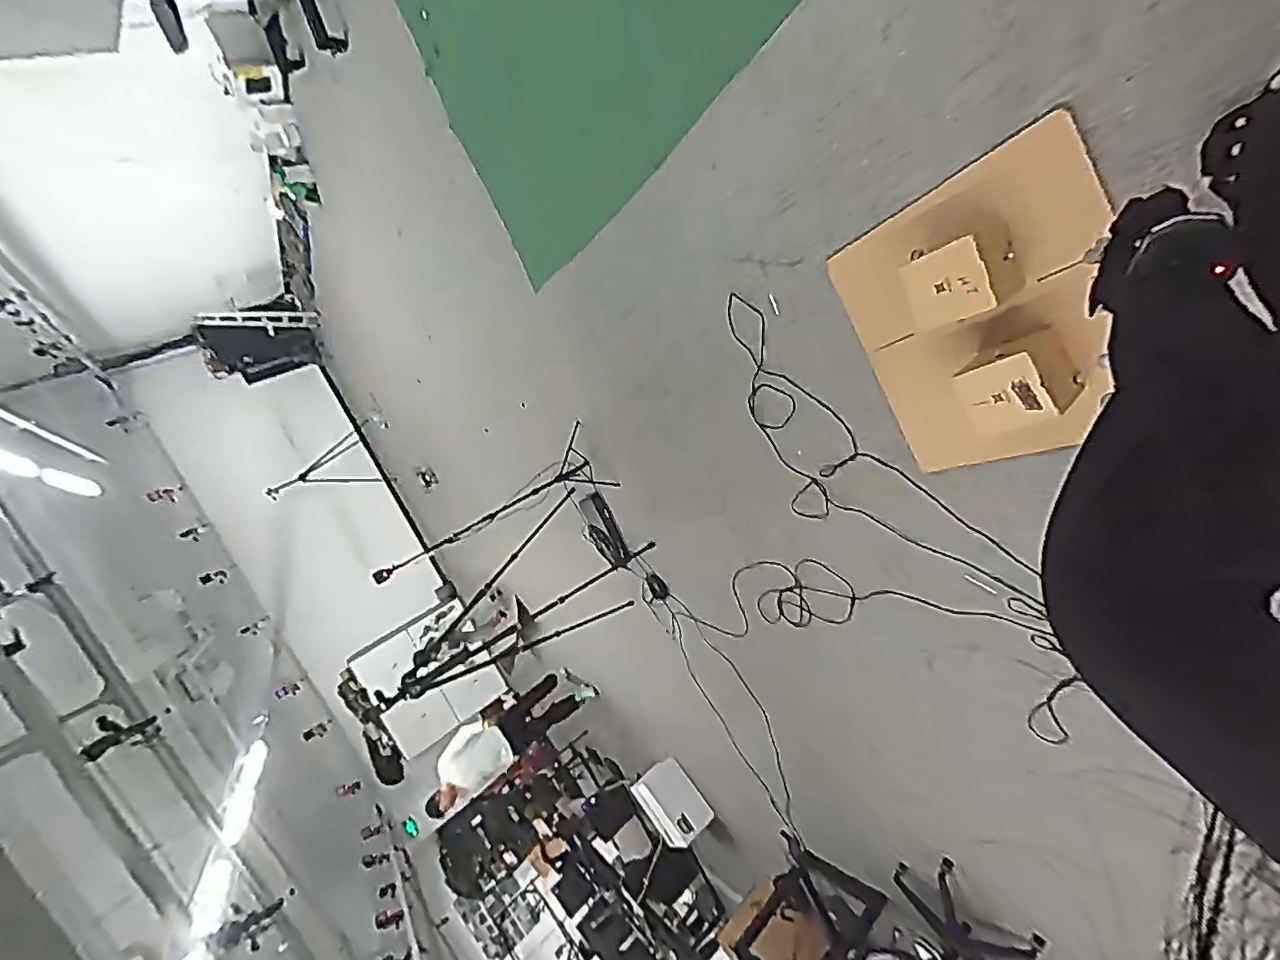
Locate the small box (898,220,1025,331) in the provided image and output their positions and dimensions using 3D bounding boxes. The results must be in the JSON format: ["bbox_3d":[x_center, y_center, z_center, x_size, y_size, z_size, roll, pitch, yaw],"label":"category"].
[{"bbox_3d":[0.742,-0.470,1.249,0.179,0.176,0.168,-11,108,57],"label":"small box"}]

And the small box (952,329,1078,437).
[{"bbox_3d":[0.880,-0.226,1.260,0.168,0.176,0.179,61,150,-4],"label":"small box"}]
